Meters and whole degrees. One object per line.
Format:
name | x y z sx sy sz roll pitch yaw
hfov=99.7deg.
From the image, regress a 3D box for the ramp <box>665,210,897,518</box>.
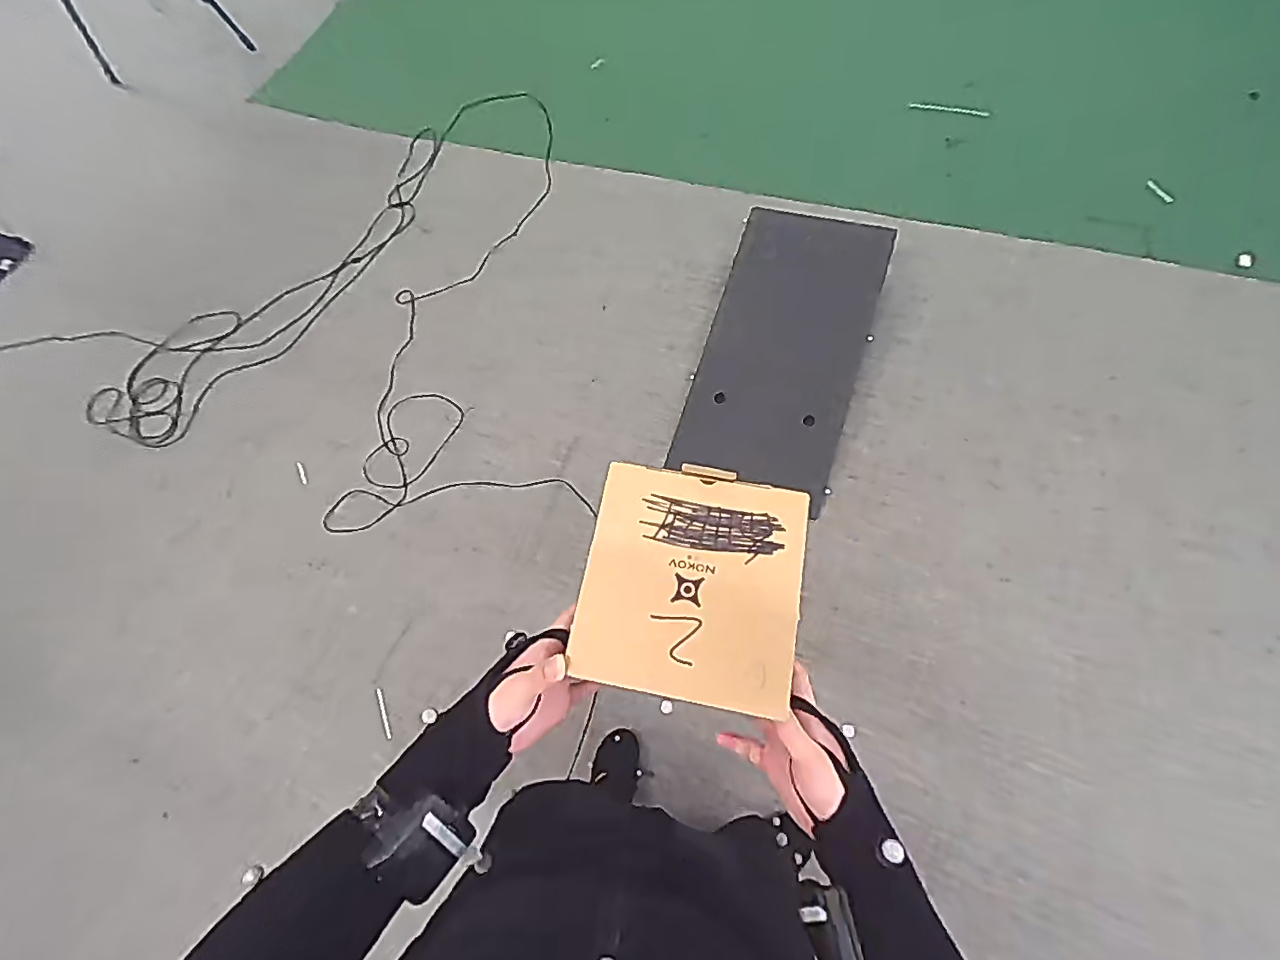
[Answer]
ramp | 0.460 -0.407 1.731 0.509 0.206 0.991 15 69 12
